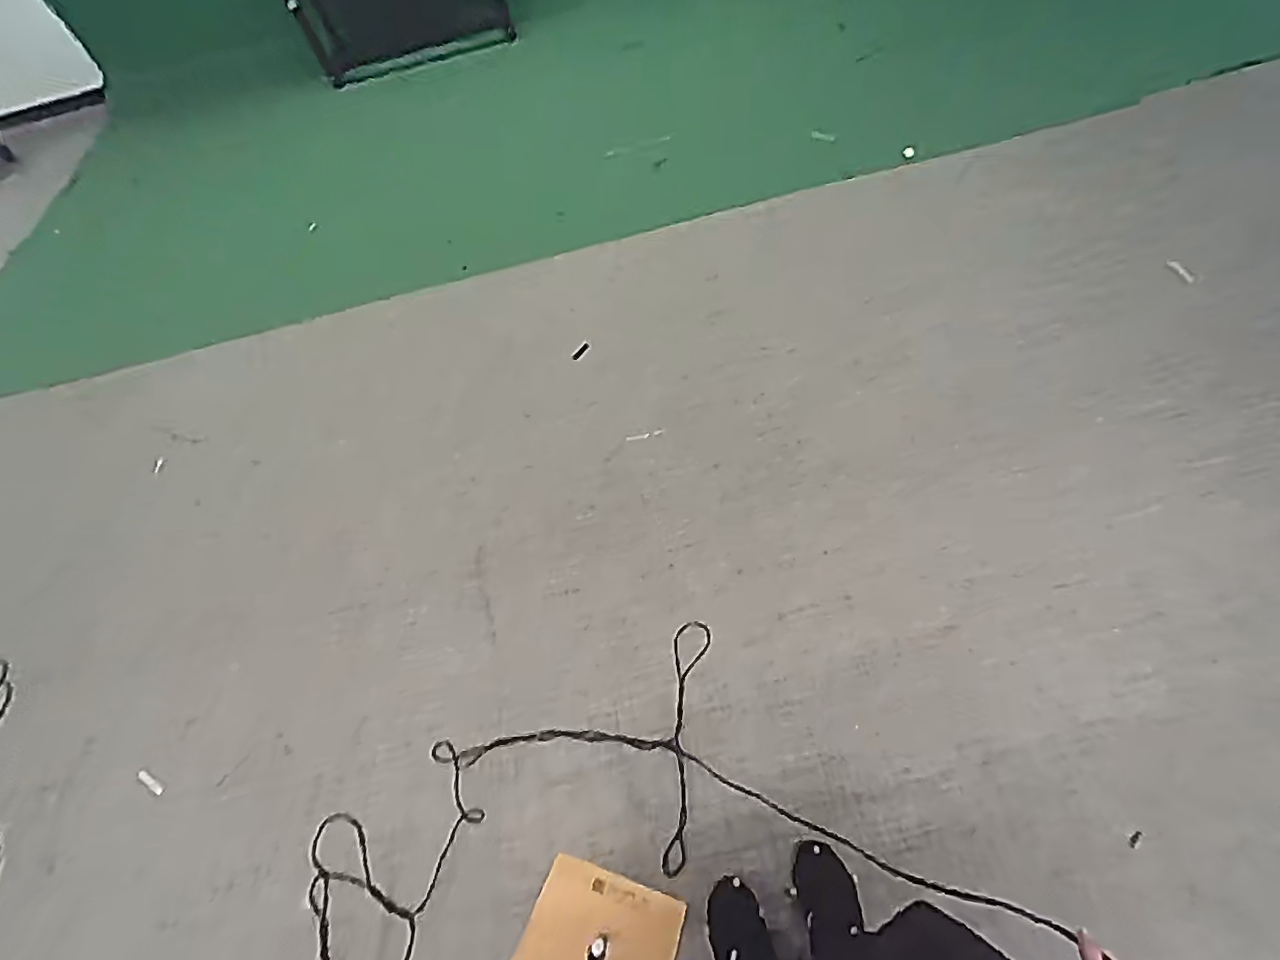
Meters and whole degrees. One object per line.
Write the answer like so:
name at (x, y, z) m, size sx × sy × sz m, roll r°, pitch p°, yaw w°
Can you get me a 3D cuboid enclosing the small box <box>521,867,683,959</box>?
small box at (-0.053, 0.588, 0.612) m, size 0.168 × 0.179 × 0.176 m, roll 13°, pitch 29°, yaw 13°
